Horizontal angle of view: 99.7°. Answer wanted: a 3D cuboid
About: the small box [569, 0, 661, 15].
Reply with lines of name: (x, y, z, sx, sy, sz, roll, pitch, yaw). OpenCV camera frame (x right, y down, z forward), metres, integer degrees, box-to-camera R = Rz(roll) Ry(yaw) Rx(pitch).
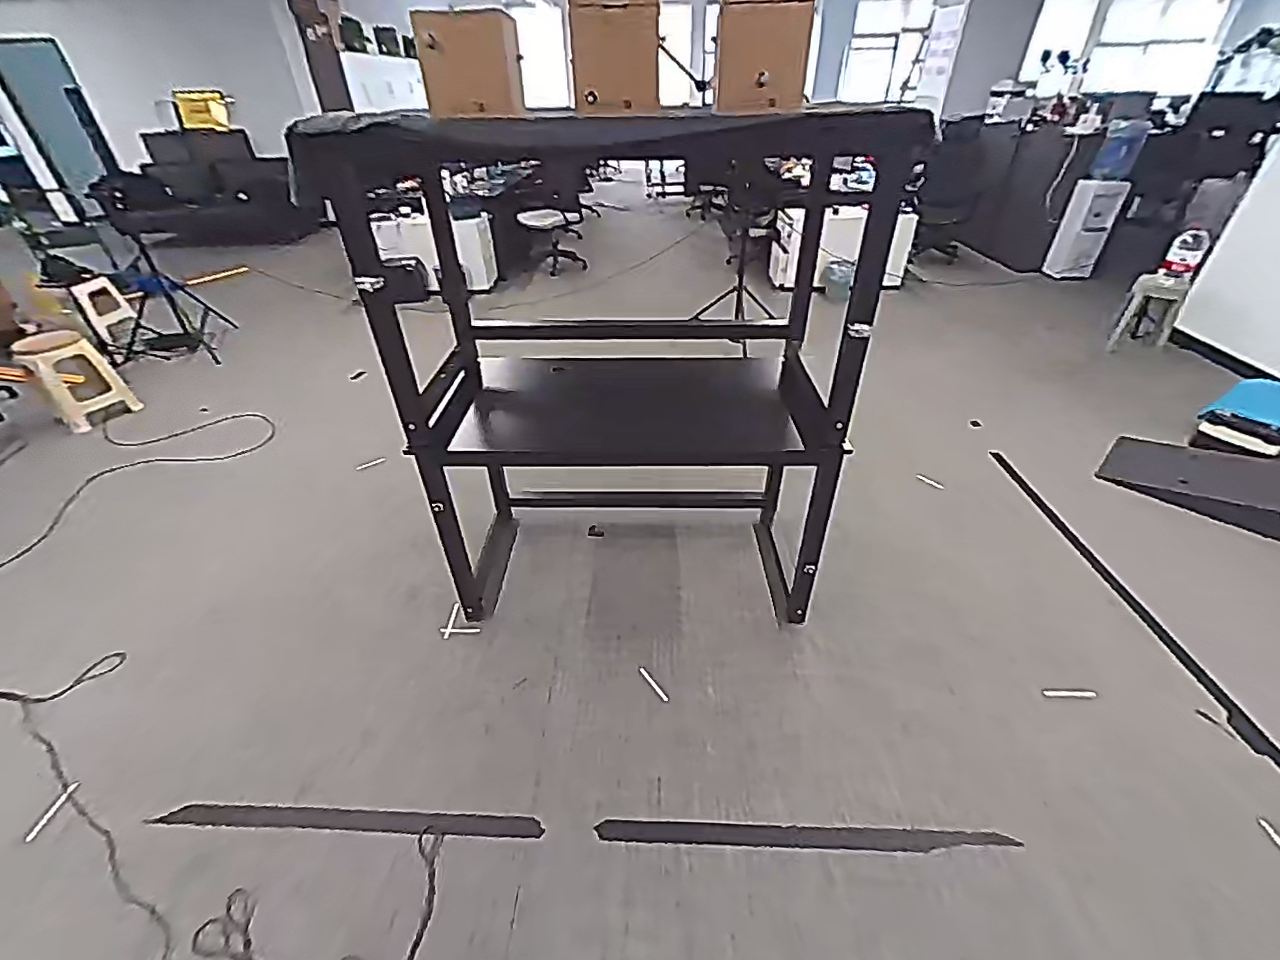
small box: (-0.047, -0.954, 0.981, 0.168, 0.176, 0.179, 0, 35, 3)

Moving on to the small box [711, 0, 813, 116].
small box: (0.229, -0.821, 1.064, 0.168, 0.176, 0.179, 0, 35, 3)

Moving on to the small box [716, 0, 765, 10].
small box: (0.227, -0.956, 0.970, 0.168, 0.176, 0.179, 1, 36, 3)

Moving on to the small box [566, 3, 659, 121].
small box: (-0.046, -0.820, 1.072, 0.168, 0.176, 0.179, 0, 34, 2)
